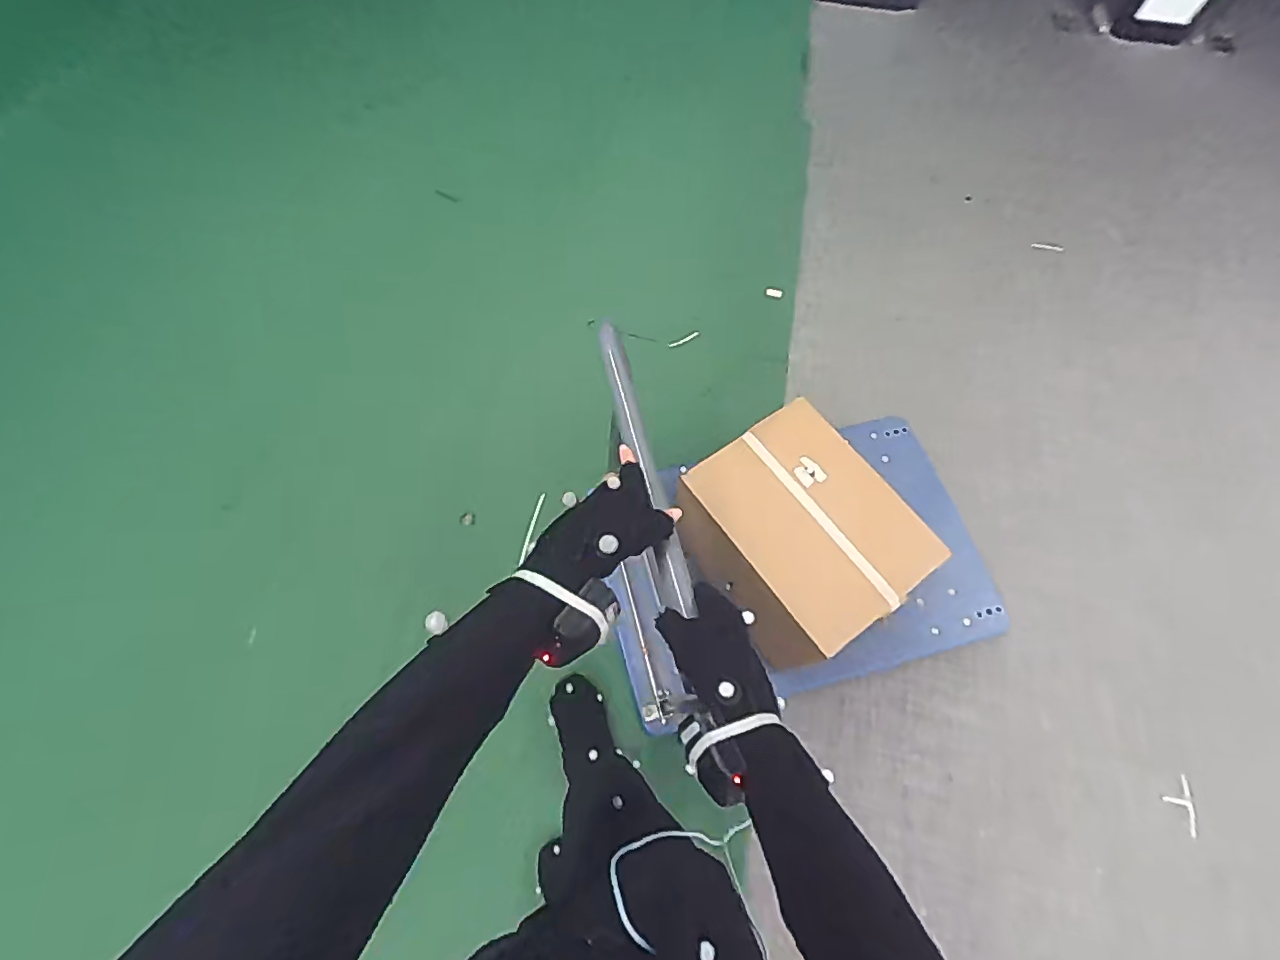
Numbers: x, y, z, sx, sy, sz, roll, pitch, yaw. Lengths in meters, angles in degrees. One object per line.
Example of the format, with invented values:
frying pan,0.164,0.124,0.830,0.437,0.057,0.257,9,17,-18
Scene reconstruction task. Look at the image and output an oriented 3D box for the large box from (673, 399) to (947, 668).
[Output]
large box,0.311,0.121,1.125,0.320,0.320,0.408,-32,70,-15
